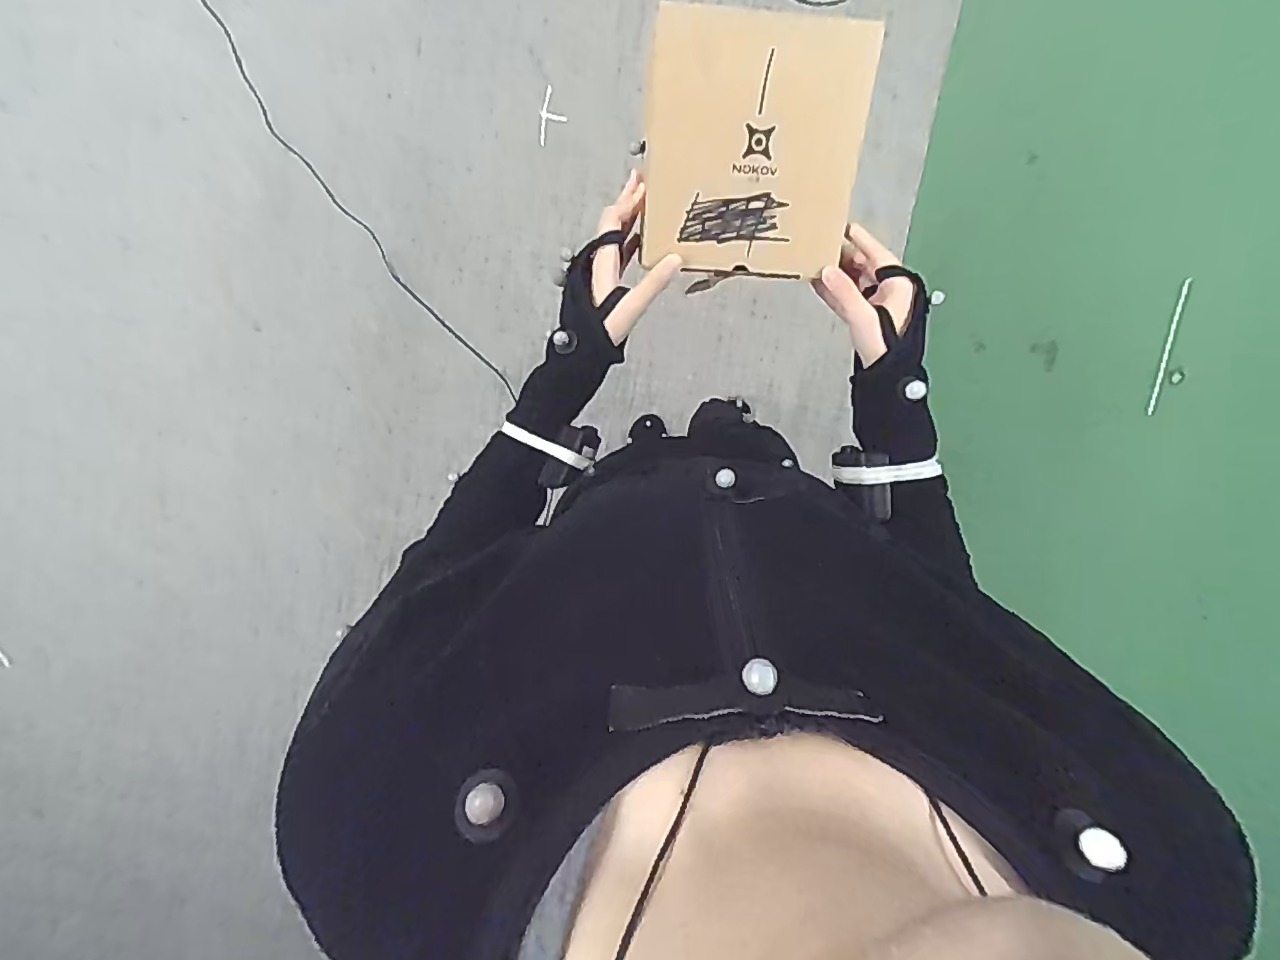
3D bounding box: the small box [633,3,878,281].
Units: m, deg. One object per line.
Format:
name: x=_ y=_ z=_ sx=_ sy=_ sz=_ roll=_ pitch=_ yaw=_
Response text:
small box: x=0.082 y=-0.283 z=0.491 sx=0.168 sy=0.176 sz=0.179 roll=2 pitch=113 yaw=-5
